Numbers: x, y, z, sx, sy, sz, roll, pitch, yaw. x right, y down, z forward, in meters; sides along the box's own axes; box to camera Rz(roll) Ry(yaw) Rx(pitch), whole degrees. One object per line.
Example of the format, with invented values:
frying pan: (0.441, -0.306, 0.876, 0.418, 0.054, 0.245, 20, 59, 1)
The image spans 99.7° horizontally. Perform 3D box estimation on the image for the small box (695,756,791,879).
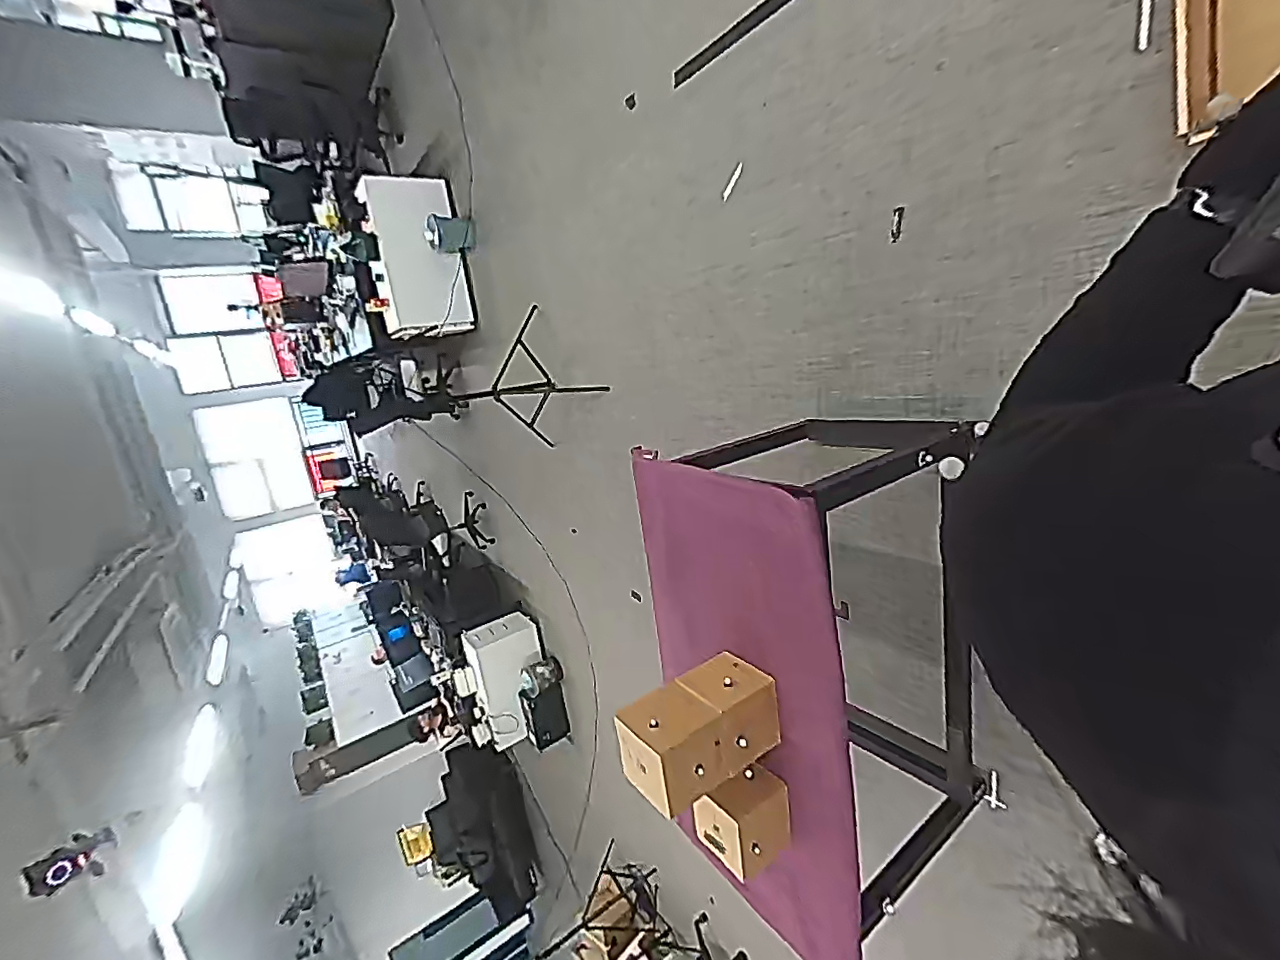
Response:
small box: (0.254, 0.808, 1.329, 0.168, 0.176, 0.179, 12, 114, 55)

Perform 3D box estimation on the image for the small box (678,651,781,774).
small box: (0.211, 0.532, 1.268, 0.168, 0.176, 0.179, 13, 116, 55)

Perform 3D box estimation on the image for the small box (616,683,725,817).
small box: (0.073, 0.579, 1.190, 0.179, 0.176, 0.168, 14, 116, 55)
